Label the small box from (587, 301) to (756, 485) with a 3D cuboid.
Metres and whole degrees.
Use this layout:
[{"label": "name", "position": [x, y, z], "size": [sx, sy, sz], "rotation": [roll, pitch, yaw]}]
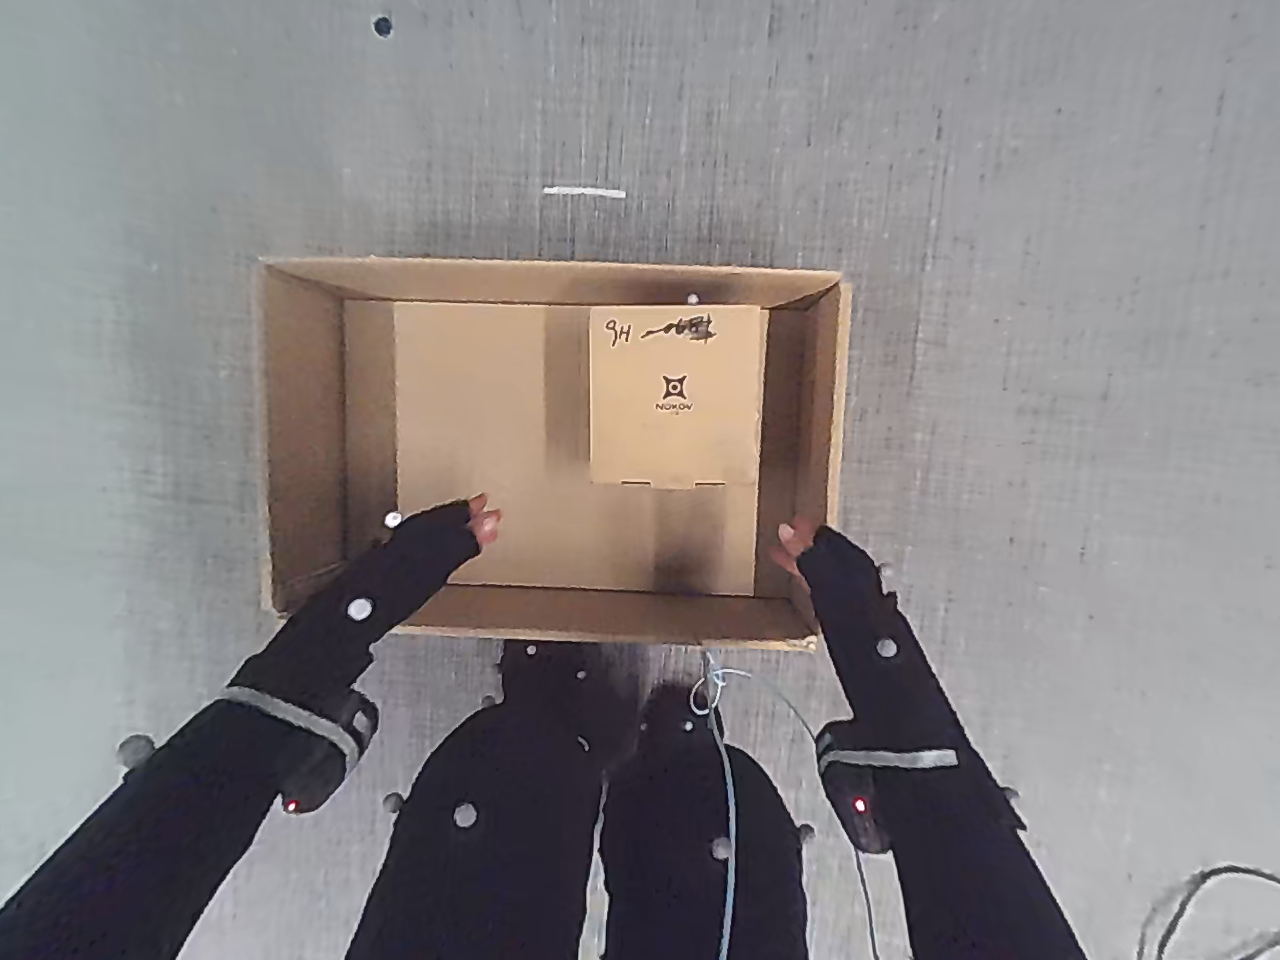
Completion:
[{"label": "small box", "position": [0.038, -0.092, 0.608], "size": [0.168, 0.176, 0.179], "rotation": [-2, 95, 4]}]
